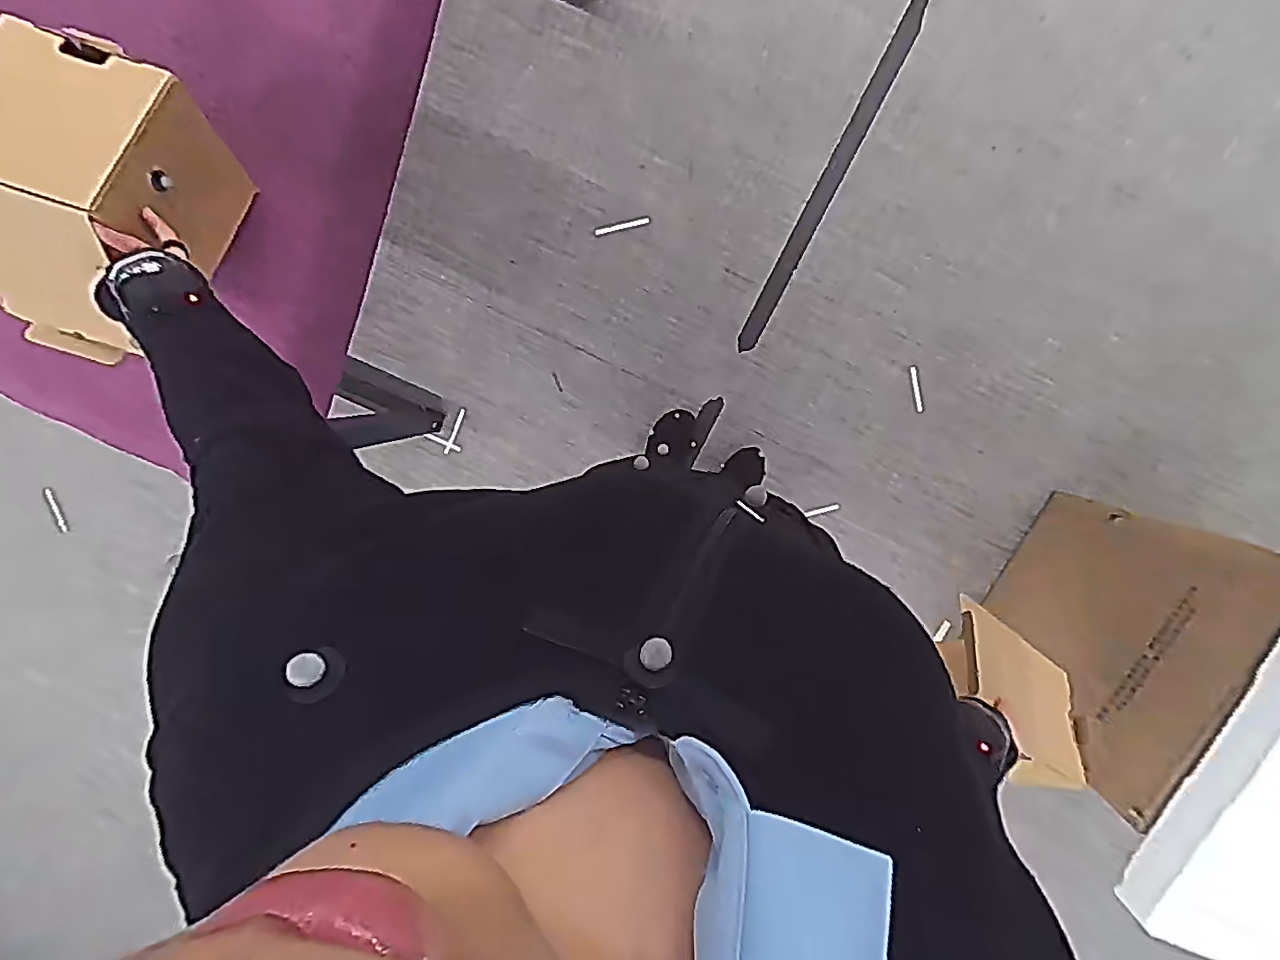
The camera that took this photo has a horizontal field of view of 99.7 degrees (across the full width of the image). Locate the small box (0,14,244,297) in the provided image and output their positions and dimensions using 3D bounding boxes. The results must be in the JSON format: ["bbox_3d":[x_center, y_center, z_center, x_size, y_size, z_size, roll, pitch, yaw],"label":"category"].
[{"bbox_3d":[-0.581,-0.332,0.587,0.168,0.176,0.179,17,75,-6],"label":"small box"}]
